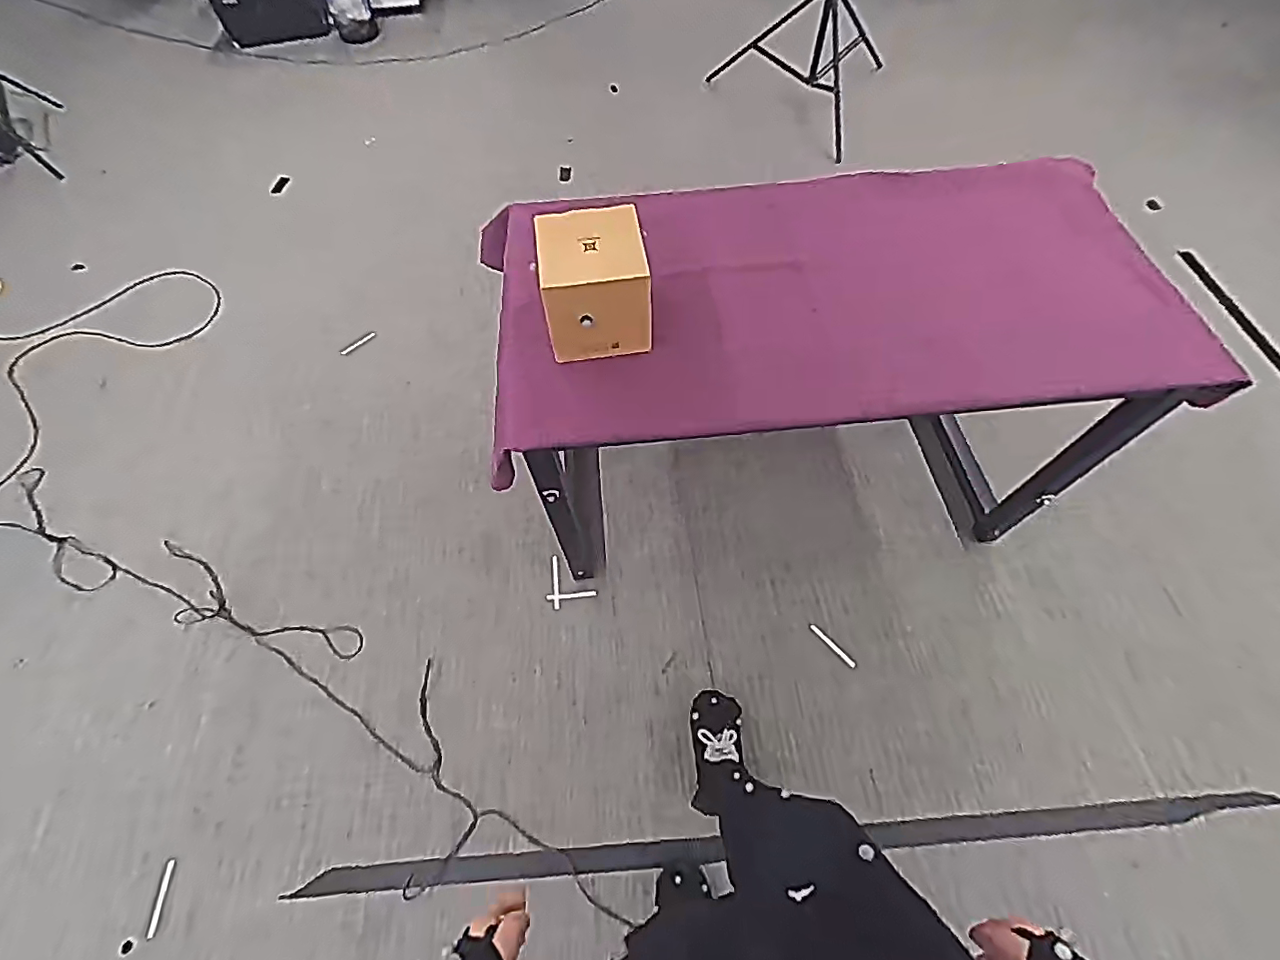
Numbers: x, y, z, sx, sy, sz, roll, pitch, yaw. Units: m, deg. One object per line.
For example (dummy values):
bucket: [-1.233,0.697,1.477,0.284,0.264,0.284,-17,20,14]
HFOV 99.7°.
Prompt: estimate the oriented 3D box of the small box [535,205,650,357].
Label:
small box: [-0.076,-0.324,0.907,0.168,0.176,0.179,-8,60,-3]
